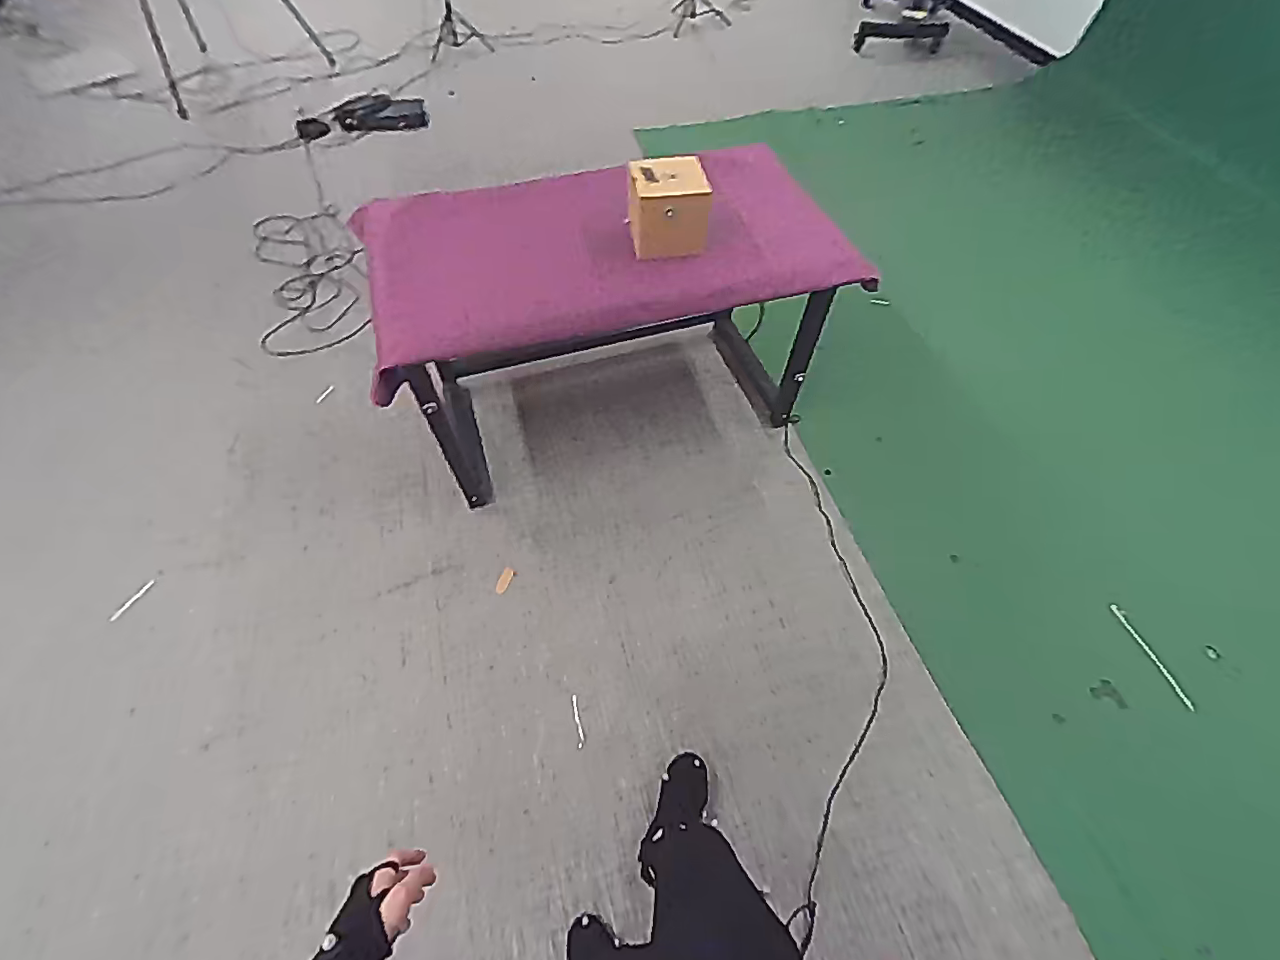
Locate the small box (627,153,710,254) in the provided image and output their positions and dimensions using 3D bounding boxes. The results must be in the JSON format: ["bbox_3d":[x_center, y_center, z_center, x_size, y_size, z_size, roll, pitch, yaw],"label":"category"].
[{"bbox_3d":[0.066,-0.692,1.363,0.179,0.176,0.168,-8,58,-7],"label":"small box"}]
